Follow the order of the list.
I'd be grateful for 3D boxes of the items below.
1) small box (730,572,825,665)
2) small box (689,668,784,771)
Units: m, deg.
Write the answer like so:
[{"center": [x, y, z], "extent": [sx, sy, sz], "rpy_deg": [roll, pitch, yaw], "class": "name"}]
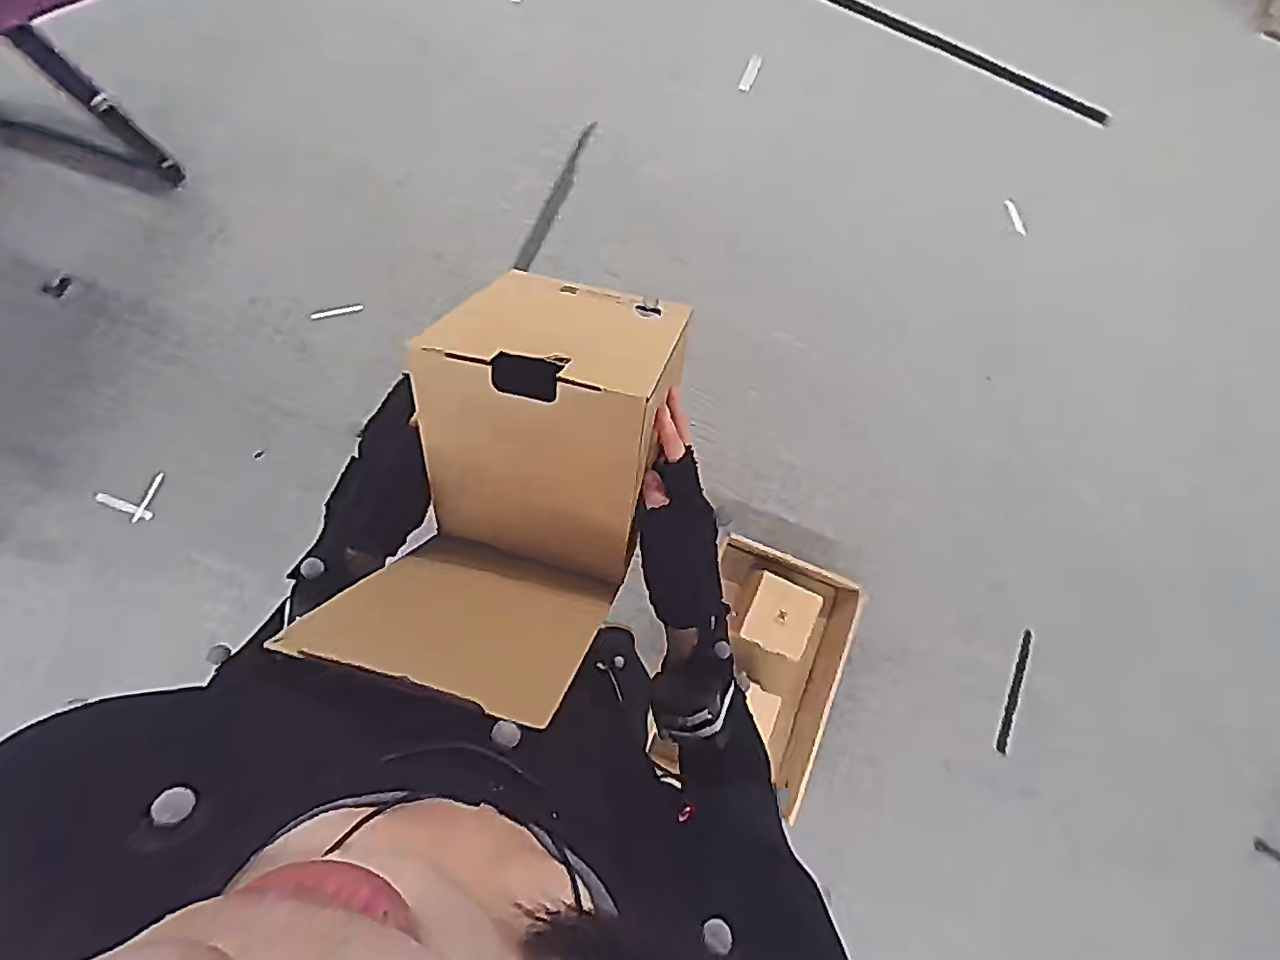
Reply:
[{"center": [0.350, 0.355, 1.418], "extent": [0.168, 0.176, 0.179], "rpy_deg": [25, 80, -1], "class": "small box"}, {"center": [0.238, 0.595, 1.372], "extent": [0.168, 0.176, 0.179], "rpy_deg": [24, 77, 0], "class": "small box"}]
